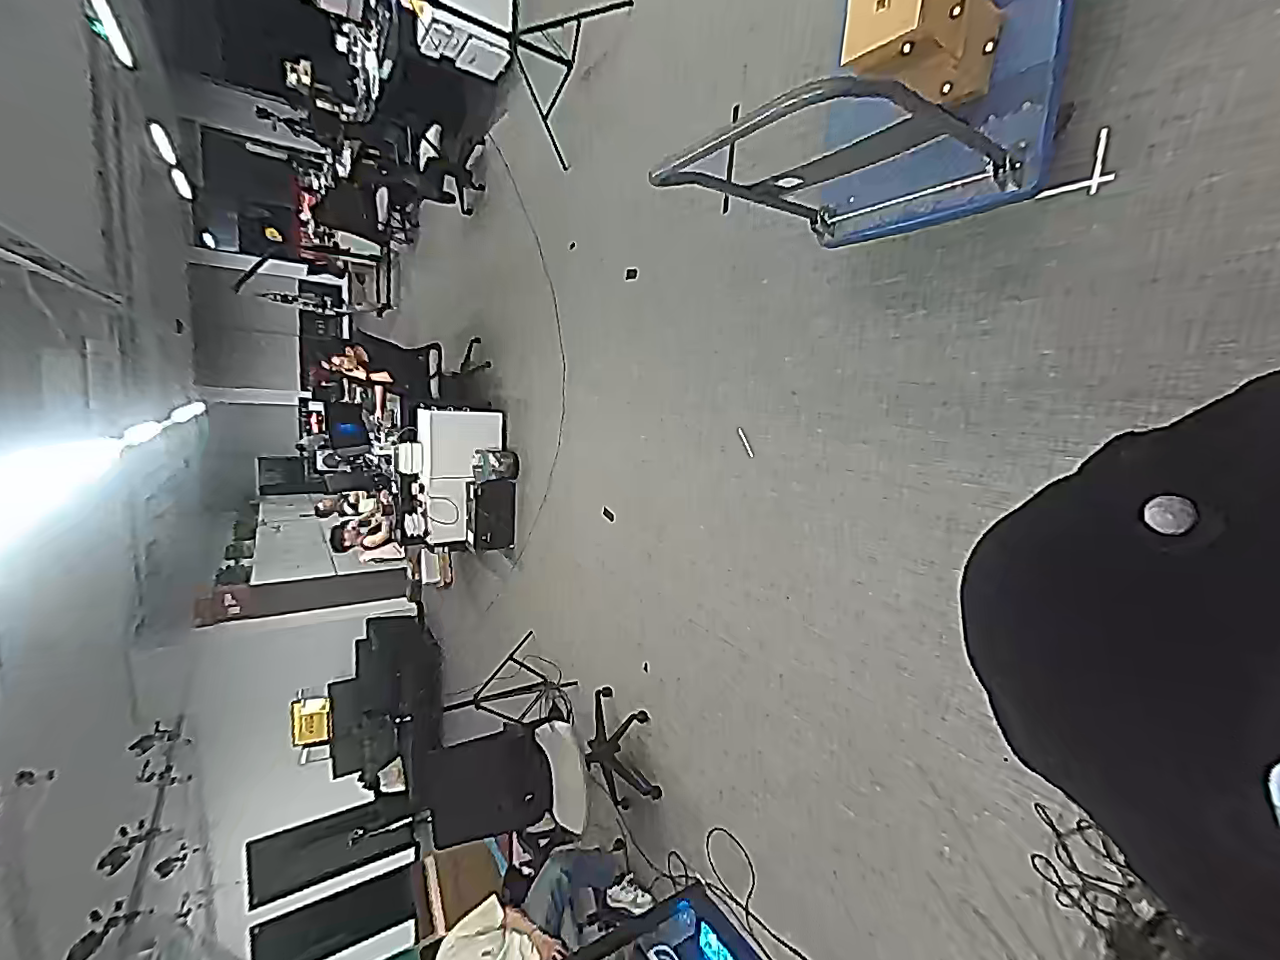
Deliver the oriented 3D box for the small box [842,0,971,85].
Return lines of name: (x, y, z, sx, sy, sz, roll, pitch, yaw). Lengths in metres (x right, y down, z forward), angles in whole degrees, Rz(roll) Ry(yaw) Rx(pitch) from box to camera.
small box: (0.554, -0.965, 1.121, 0.179, 0.176, 0.168, 17, 106, 53)
